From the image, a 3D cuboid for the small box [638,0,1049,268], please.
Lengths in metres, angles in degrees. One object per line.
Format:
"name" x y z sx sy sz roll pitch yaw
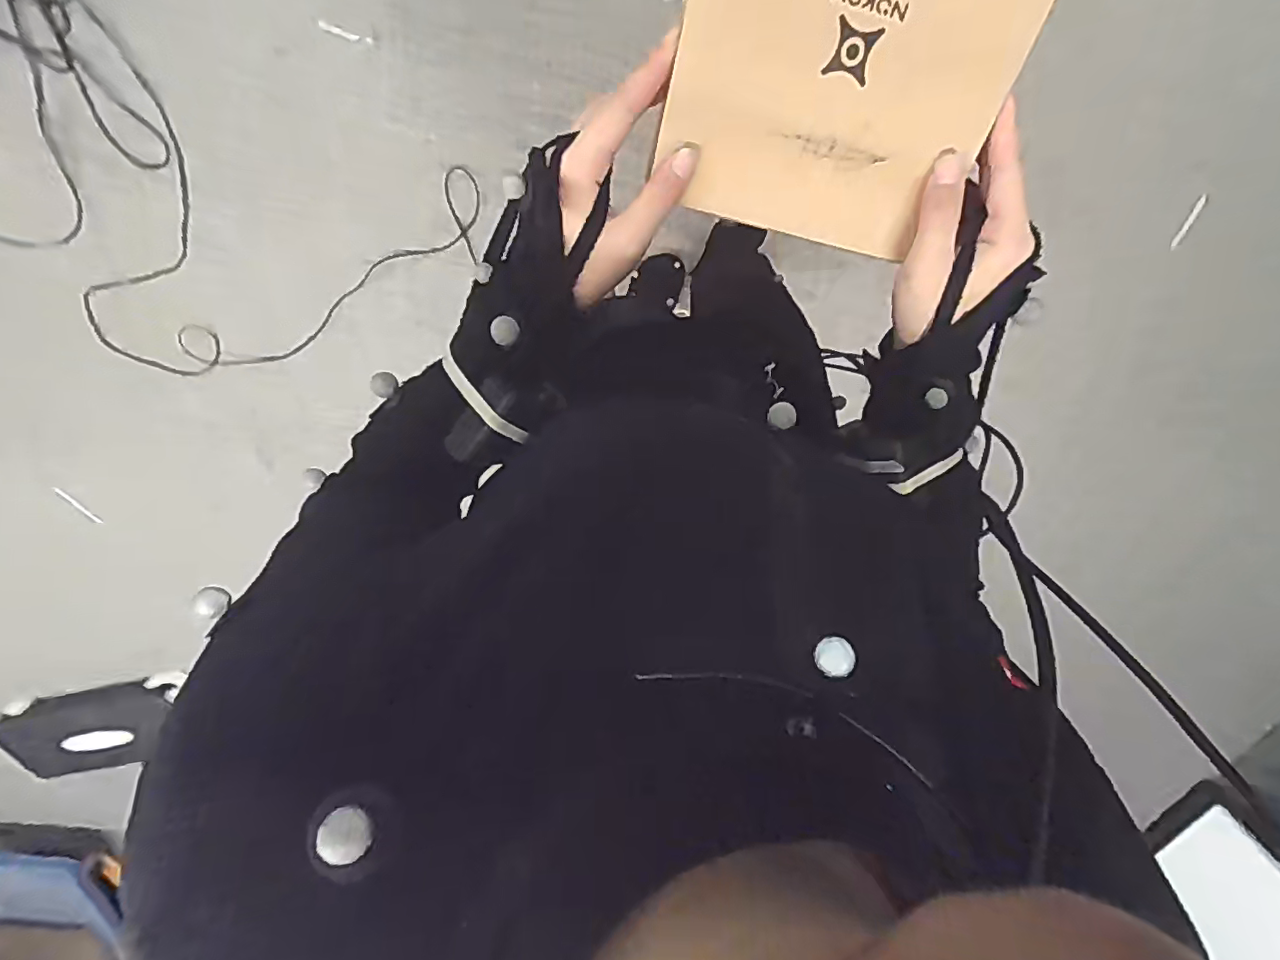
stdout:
"small box" 0.096 -0.249 0.316 0.168 0.176 0.179 11 123 -6
